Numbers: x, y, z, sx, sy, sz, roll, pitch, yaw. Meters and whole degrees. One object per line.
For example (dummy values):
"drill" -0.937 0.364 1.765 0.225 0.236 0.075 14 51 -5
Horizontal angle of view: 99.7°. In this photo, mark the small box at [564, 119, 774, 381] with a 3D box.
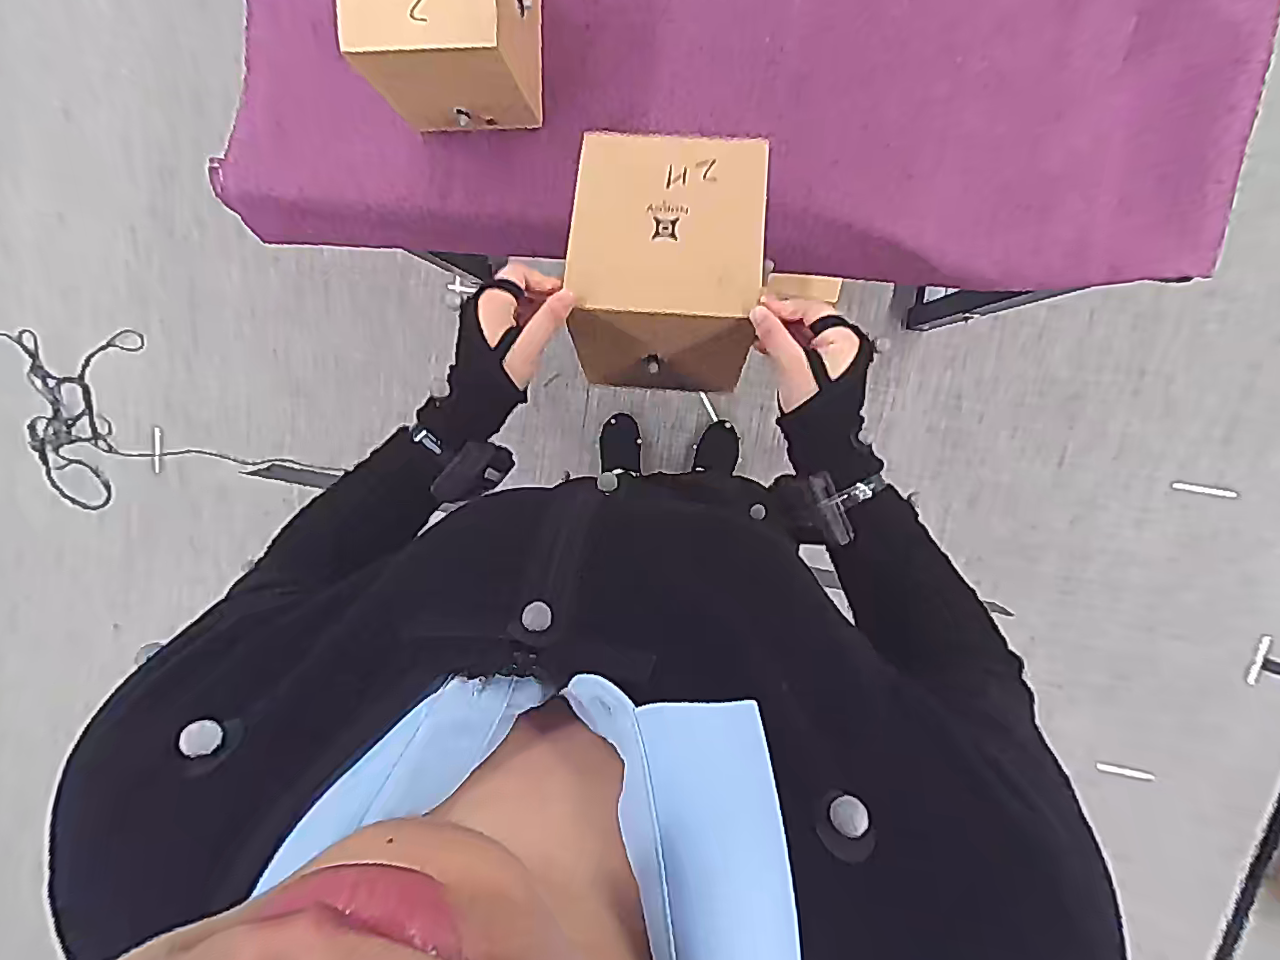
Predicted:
"small box" 0.030 -0.210 0.534 0.168 0.176 0.179 5 78 3

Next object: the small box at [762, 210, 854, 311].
"small box" 0.388 -0.517 1.297 0.168 0.176 0.179 12 99 3
